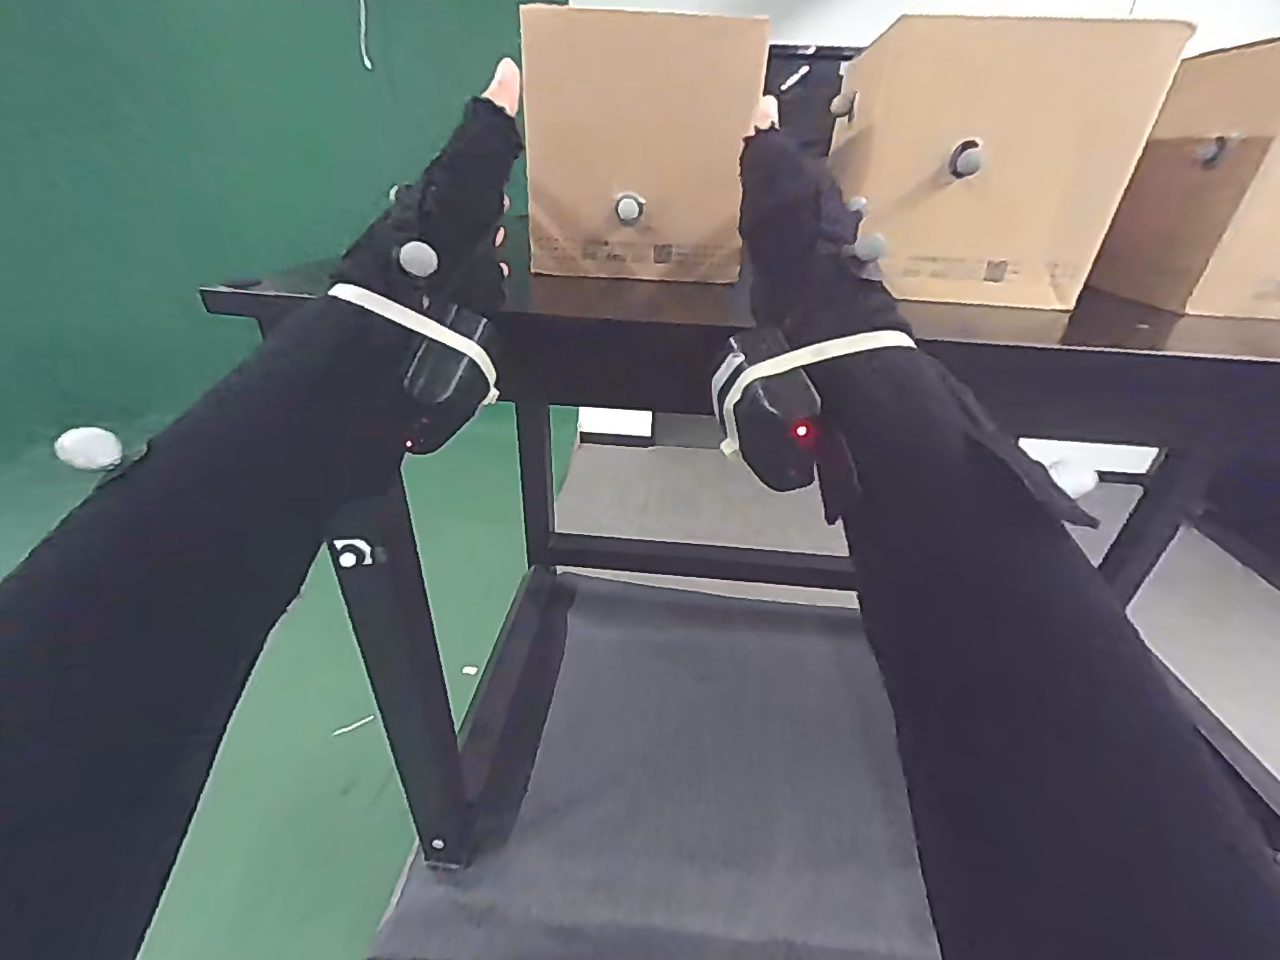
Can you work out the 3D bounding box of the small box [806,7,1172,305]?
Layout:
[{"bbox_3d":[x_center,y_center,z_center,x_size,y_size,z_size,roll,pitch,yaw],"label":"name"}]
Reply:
[{"bbox_3d":[0.236,-0.241,0.428,0.168,0.176,0.179,5,29,6],"label":"small box"}]

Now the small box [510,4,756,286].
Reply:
[{"bbox_3d":[-0.005,-0.273,0.462,0.168,0.176,0.179,3,30,1],"label":"small box"}]
